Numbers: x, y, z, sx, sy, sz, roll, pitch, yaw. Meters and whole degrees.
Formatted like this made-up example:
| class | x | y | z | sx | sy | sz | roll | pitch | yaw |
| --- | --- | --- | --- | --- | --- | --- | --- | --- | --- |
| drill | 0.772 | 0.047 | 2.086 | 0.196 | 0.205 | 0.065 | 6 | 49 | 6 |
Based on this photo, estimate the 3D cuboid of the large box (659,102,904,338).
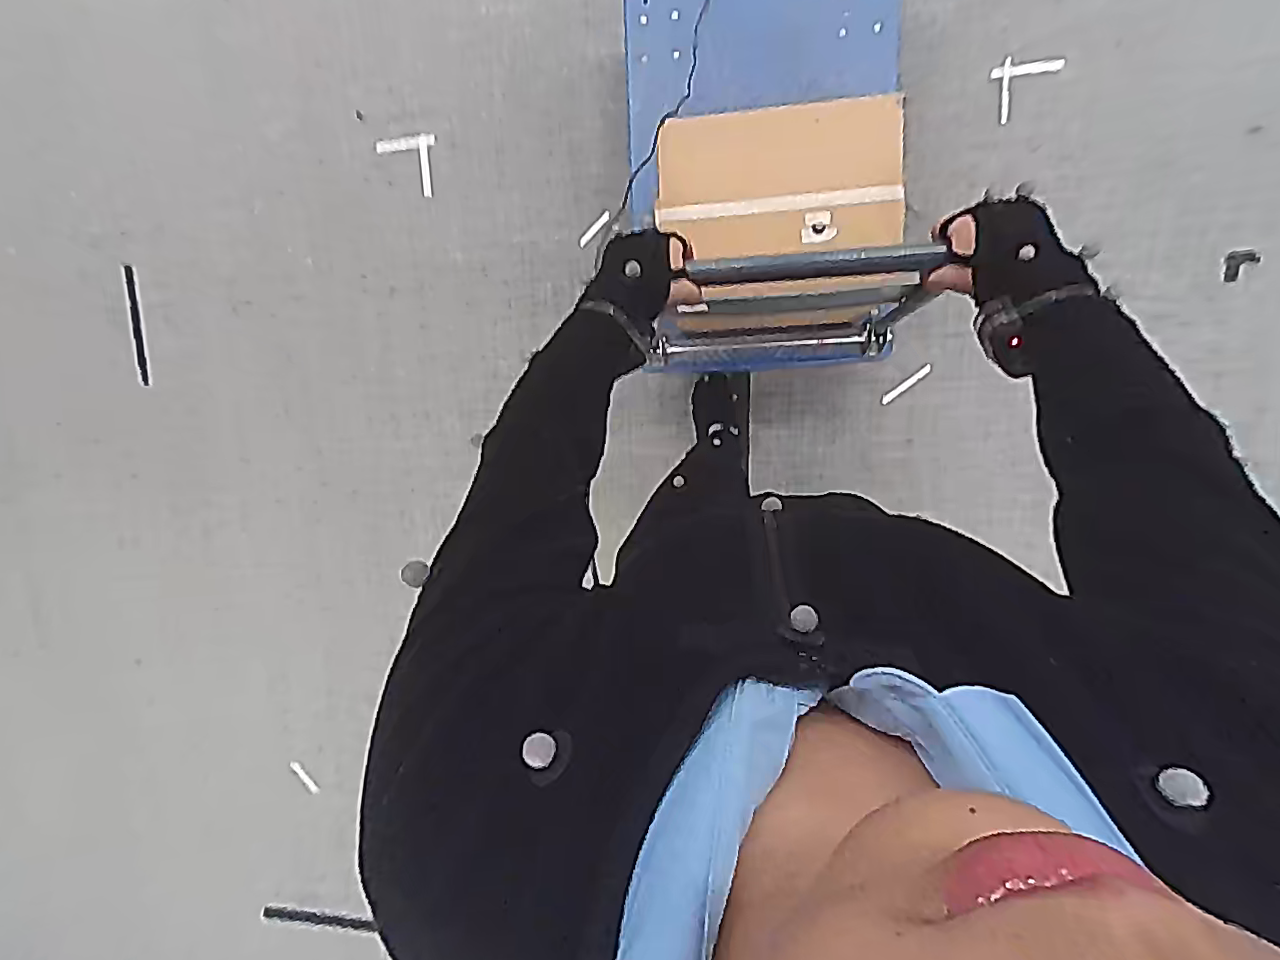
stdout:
| class | x | y | z | sx | sy | sz | roll | pitch | yaw |
| --- | --- | --- | --- | --- | --- | --- | --- | --- | --- |
| large box | 0.254 | -0.469 | 1.061 | 0.408 | 0.320 | 0.320 | -1 | 97 | 8 |
